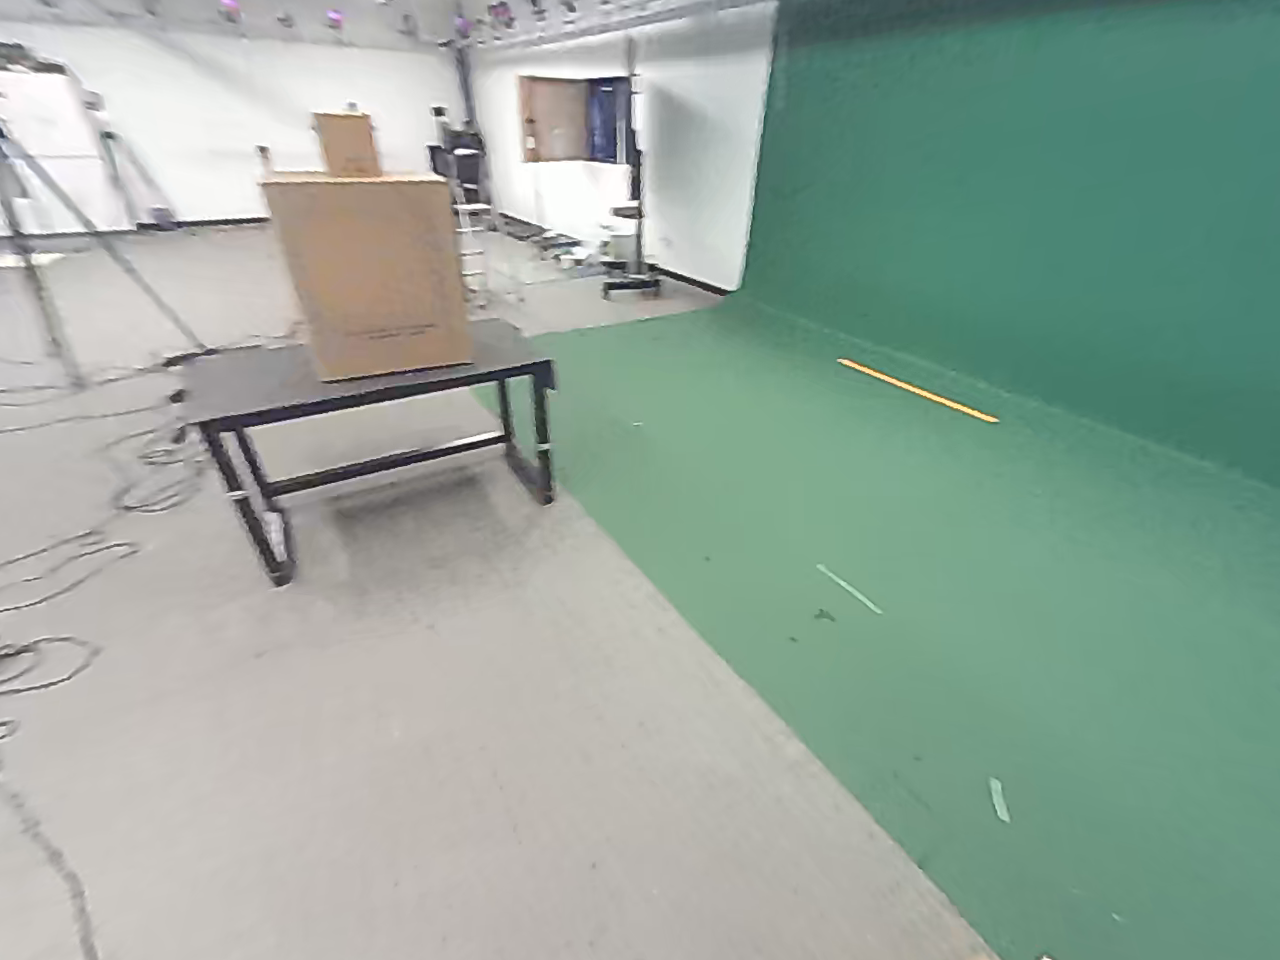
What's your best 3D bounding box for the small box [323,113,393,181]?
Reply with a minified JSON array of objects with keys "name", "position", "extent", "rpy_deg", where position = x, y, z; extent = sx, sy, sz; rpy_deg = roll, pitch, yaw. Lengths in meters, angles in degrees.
[{"name":"small box","position":[-0.899,-1.063,1.724],"extent":[0.168,0.176,0.179],"rpy_deg":[-14,39,-23]}]
